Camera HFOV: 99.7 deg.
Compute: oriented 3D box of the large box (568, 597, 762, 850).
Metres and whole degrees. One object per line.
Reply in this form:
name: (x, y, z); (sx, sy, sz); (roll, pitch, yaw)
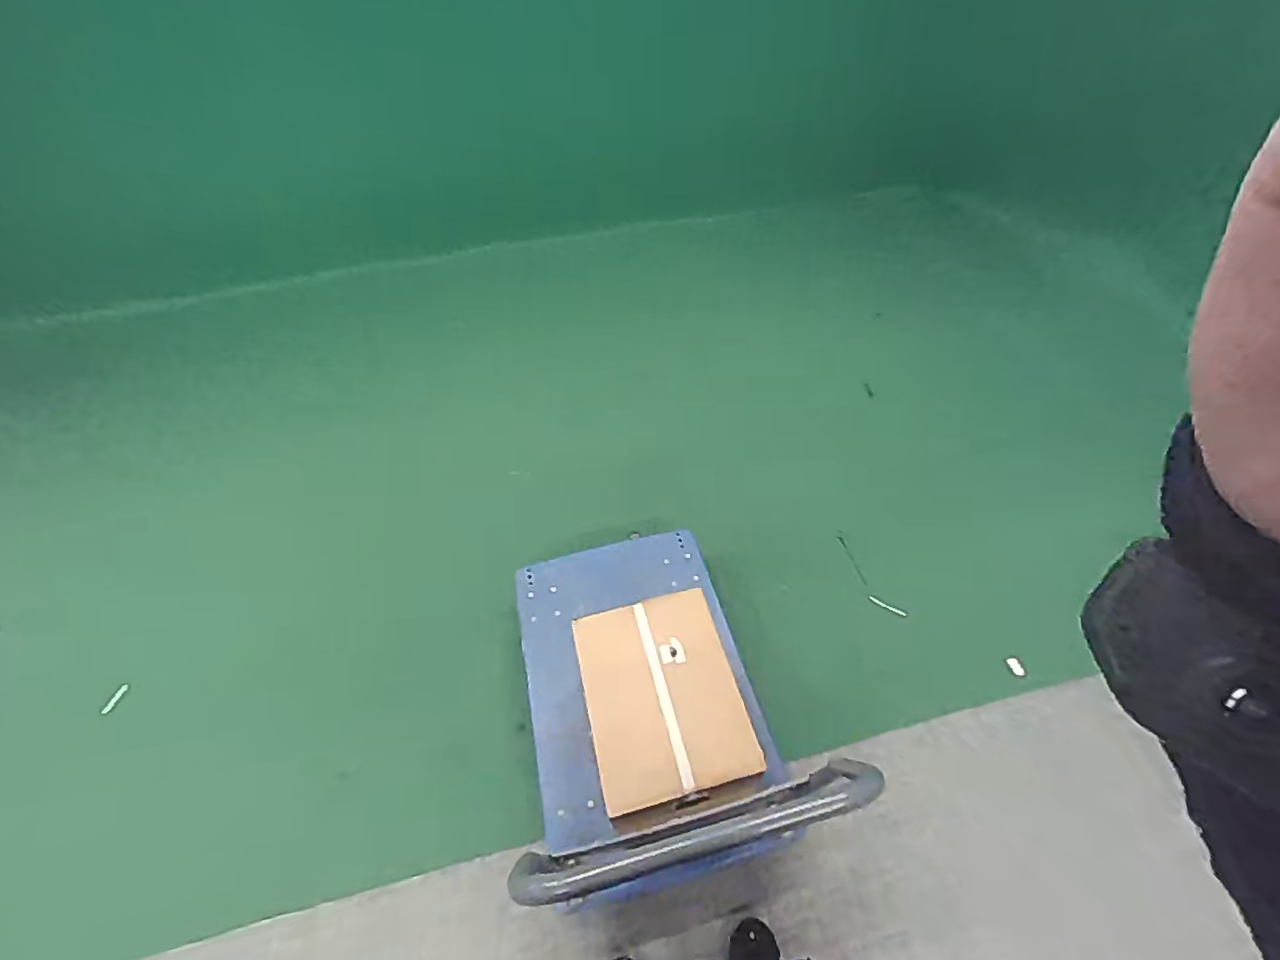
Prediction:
large box: (0.043, 0.550, 1.237); (0.320, 0.320, 0.408); (-13, 49, -9)
